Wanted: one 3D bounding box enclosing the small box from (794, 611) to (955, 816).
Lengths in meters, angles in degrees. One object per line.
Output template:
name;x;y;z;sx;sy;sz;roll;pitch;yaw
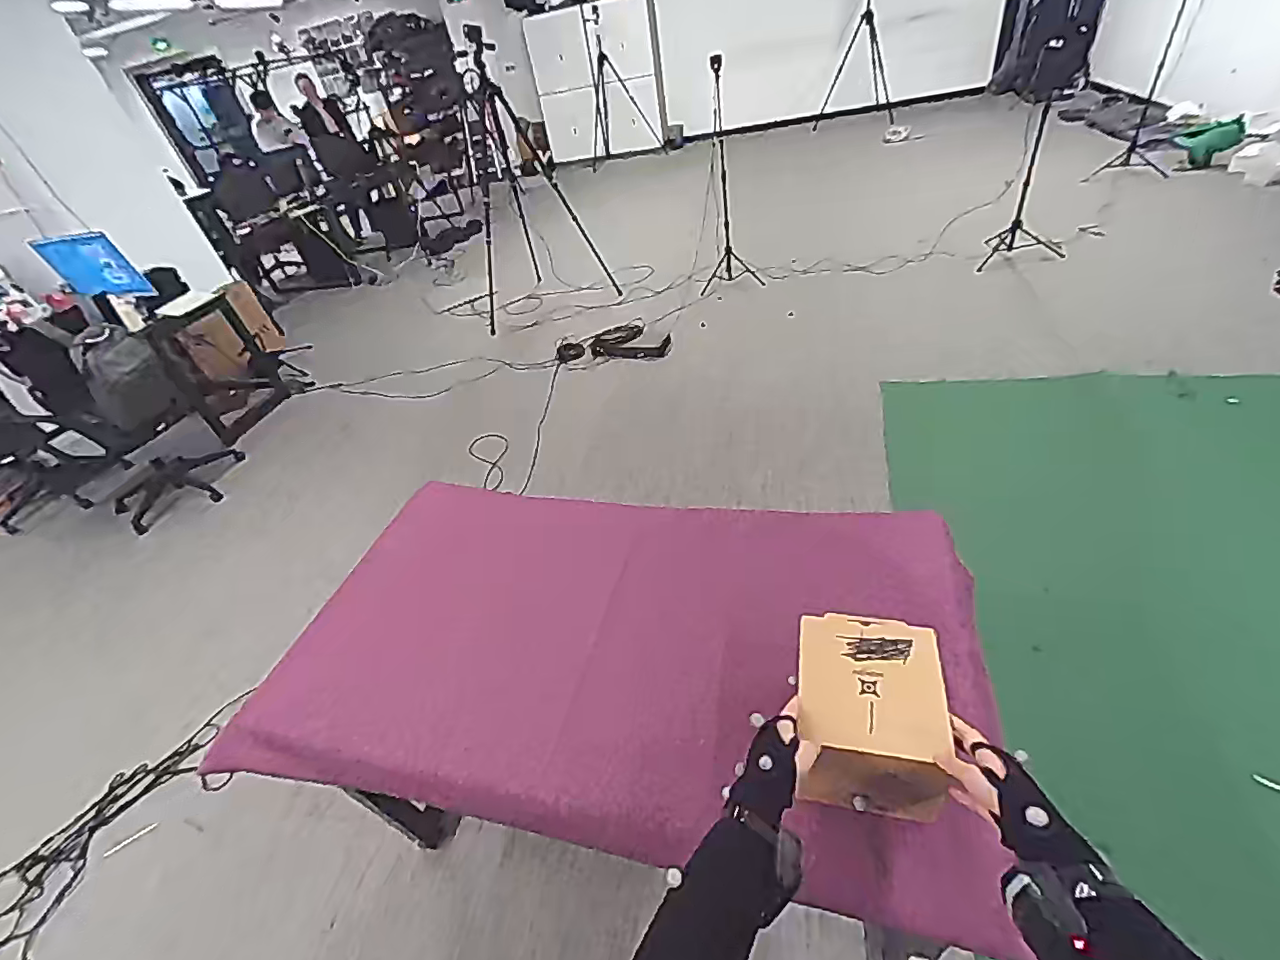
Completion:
small box;0.290;0.298;0.704;0.168;0.176;0.179;1;40;18
